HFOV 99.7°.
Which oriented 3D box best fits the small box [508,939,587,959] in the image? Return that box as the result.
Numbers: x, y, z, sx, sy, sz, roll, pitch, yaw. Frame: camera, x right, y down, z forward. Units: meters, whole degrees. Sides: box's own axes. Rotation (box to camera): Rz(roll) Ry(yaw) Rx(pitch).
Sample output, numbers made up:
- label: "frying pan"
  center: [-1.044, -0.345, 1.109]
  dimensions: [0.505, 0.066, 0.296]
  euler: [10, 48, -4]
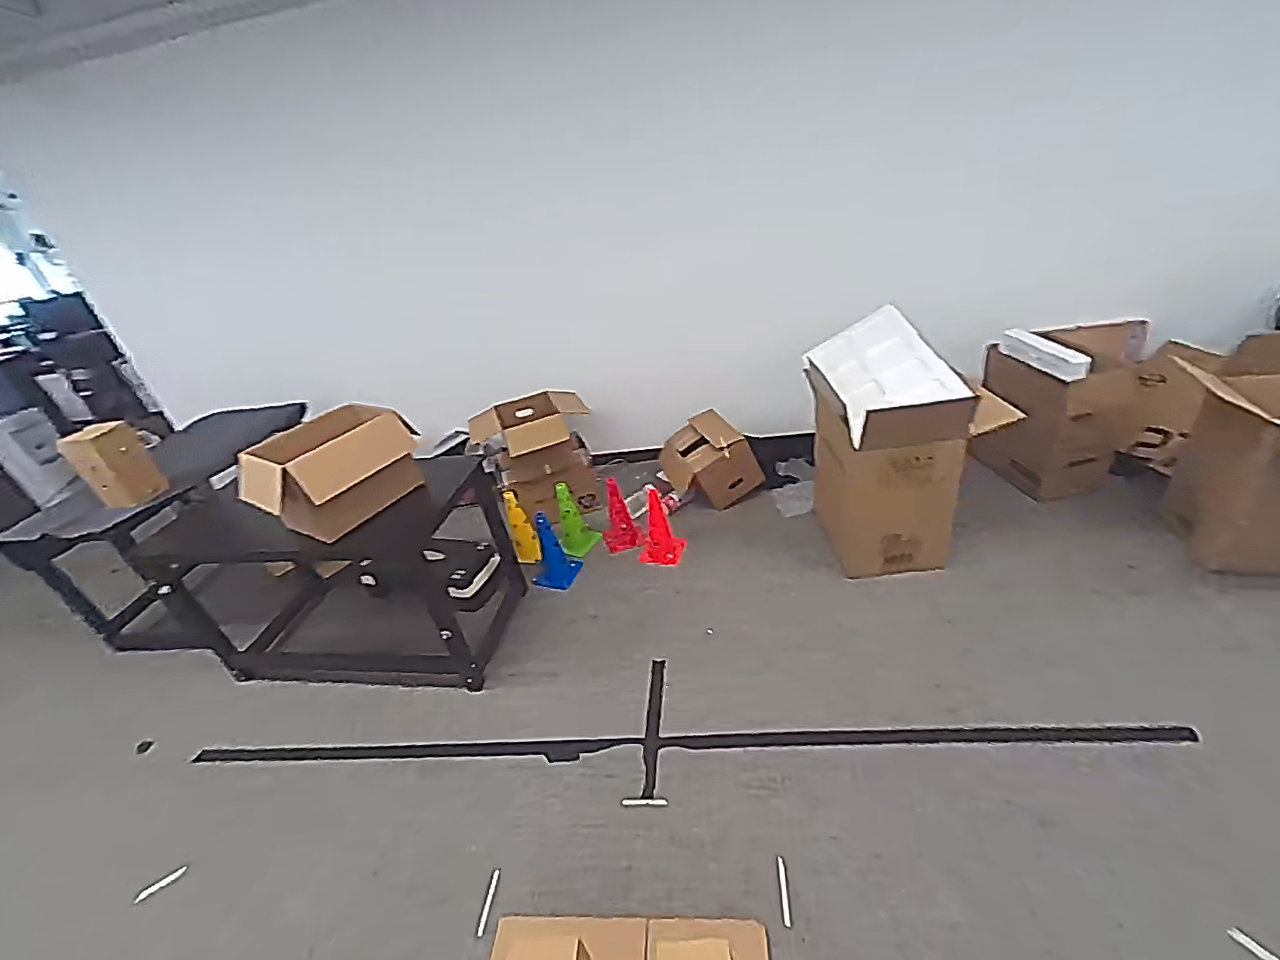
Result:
- label: "small box"
  center: [-0.211, 1.175, 1.215]
  dimensions: [0.168, 0.176, 0.179]
  euler: [-7, 31, 8]

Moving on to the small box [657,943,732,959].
- label: "small box"
  center: [0.129, 1.146, 1.167]
  dimensions: [0.168, 0.176, 0.179]
  euler: [-8, 31, 5]
